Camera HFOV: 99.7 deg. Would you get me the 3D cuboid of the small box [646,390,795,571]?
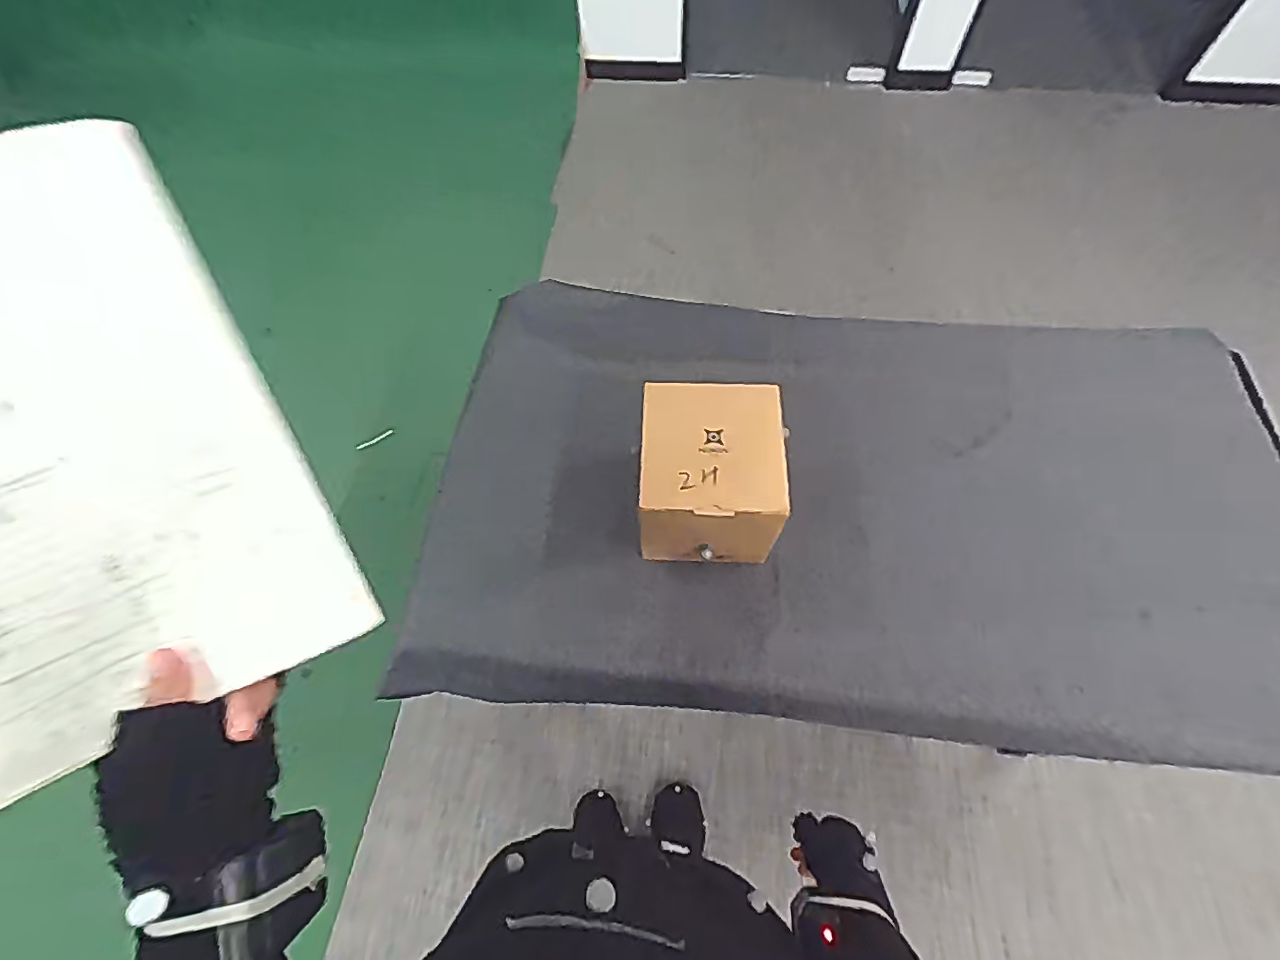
[{"bbox_3d":[0.094,0.005,0.699,0.168,0.176,0.179,1,62,3],"label":"small box"}]
